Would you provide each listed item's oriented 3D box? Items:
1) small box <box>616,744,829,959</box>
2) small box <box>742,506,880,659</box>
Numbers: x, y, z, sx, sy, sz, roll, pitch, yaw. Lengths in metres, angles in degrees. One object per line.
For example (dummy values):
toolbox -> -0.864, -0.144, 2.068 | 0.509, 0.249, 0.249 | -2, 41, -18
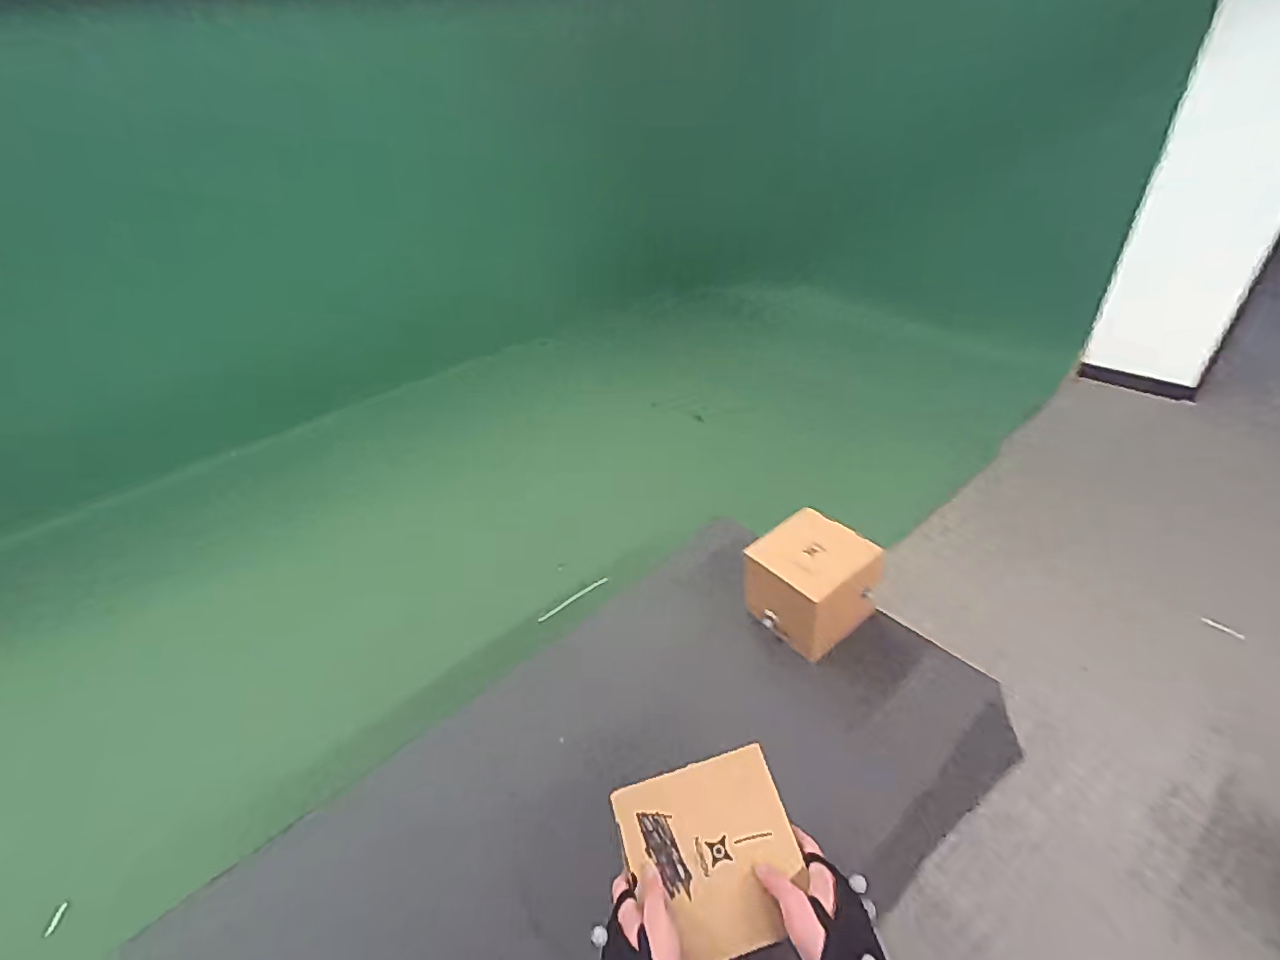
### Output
small box -> 0.085, 0.425, 0.604 | 0.179, 0.176, 0.168 | -16, 51, -4
small box -> 0.304, 0.185, 0.987 | 0.179, 0.176, 0.168 | -30, 41, -24
